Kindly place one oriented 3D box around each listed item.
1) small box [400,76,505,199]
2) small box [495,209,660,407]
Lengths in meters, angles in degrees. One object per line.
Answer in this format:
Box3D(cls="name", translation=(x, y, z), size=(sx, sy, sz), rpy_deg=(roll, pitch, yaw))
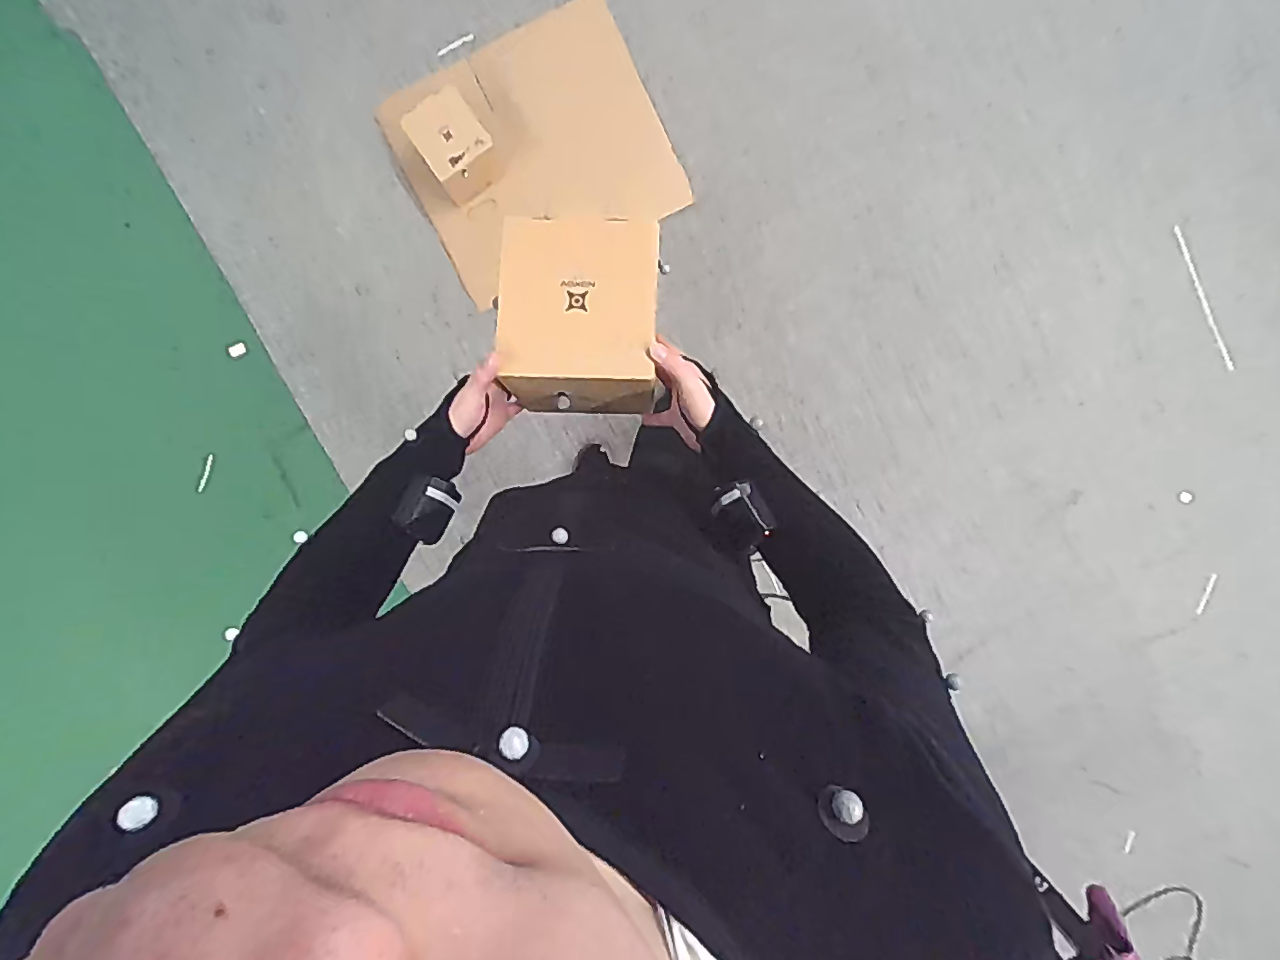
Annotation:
Box3D(cls="small box", translation=(-0.475, -0.871, 1.396), size=(0.168, 0.176, 0.179), rpy_deg=(-34, 97, 2))
Box3D(cls="small box", translation=(-0.062, -0.186, 0.633), size=(0.168, 0.176, 0.179), rpy_deg=(1, 84, 1))
